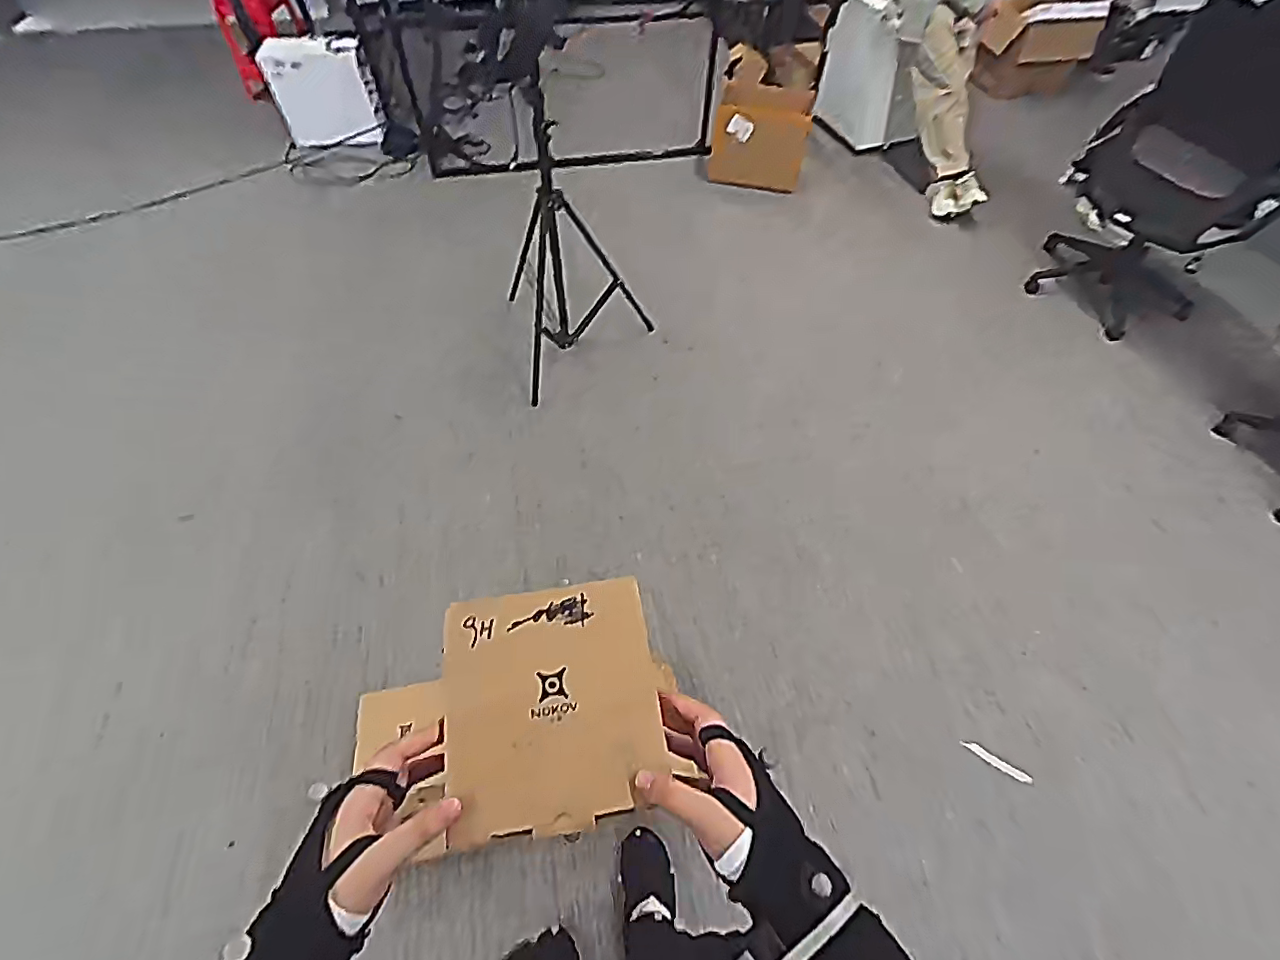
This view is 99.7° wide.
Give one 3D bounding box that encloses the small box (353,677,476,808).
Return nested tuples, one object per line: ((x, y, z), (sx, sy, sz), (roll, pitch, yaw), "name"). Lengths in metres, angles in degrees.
((-0.406, 0.489, 1.002), (0.168, 0.176, 0.179), (-8, 56, -7), "small box")

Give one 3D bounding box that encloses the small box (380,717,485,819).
((-0.427, 0.590, 1.132), (0.168, 0.176, 0.179), (-10, 57, -8), "small box")
